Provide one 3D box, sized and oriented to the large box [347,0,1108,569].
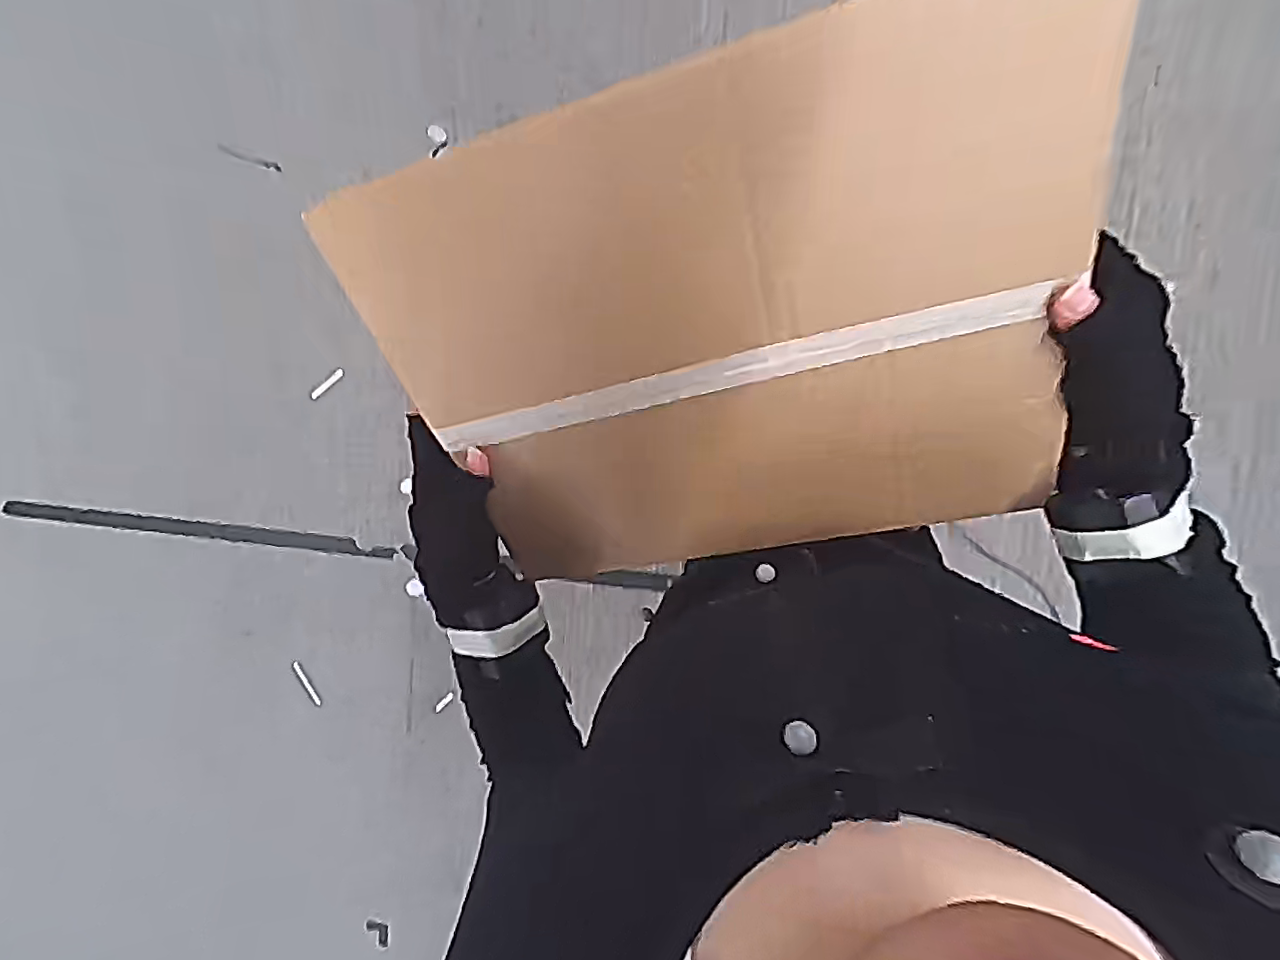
[{"bbox_3d":[0.066,-0.163,0.473,0.408,0.320,0.320,-11,127,14],"label":"large box"}]
